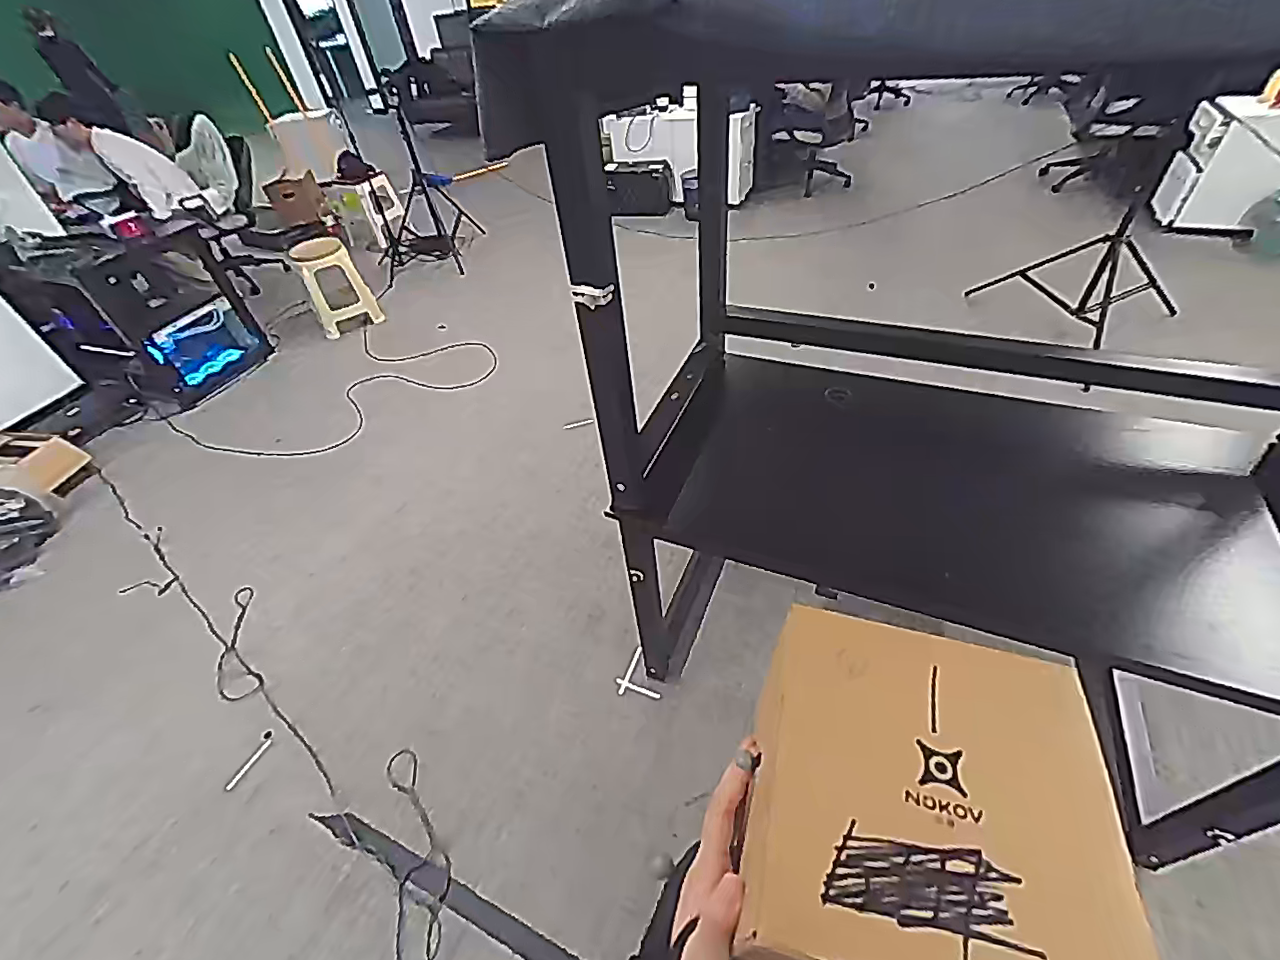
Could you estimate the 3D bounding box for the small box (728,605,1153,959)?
[{"bbox_3d":[0.152,0.210,0.332,0.168,0.176,0.179,11,47,12],"label":"small box"}]
